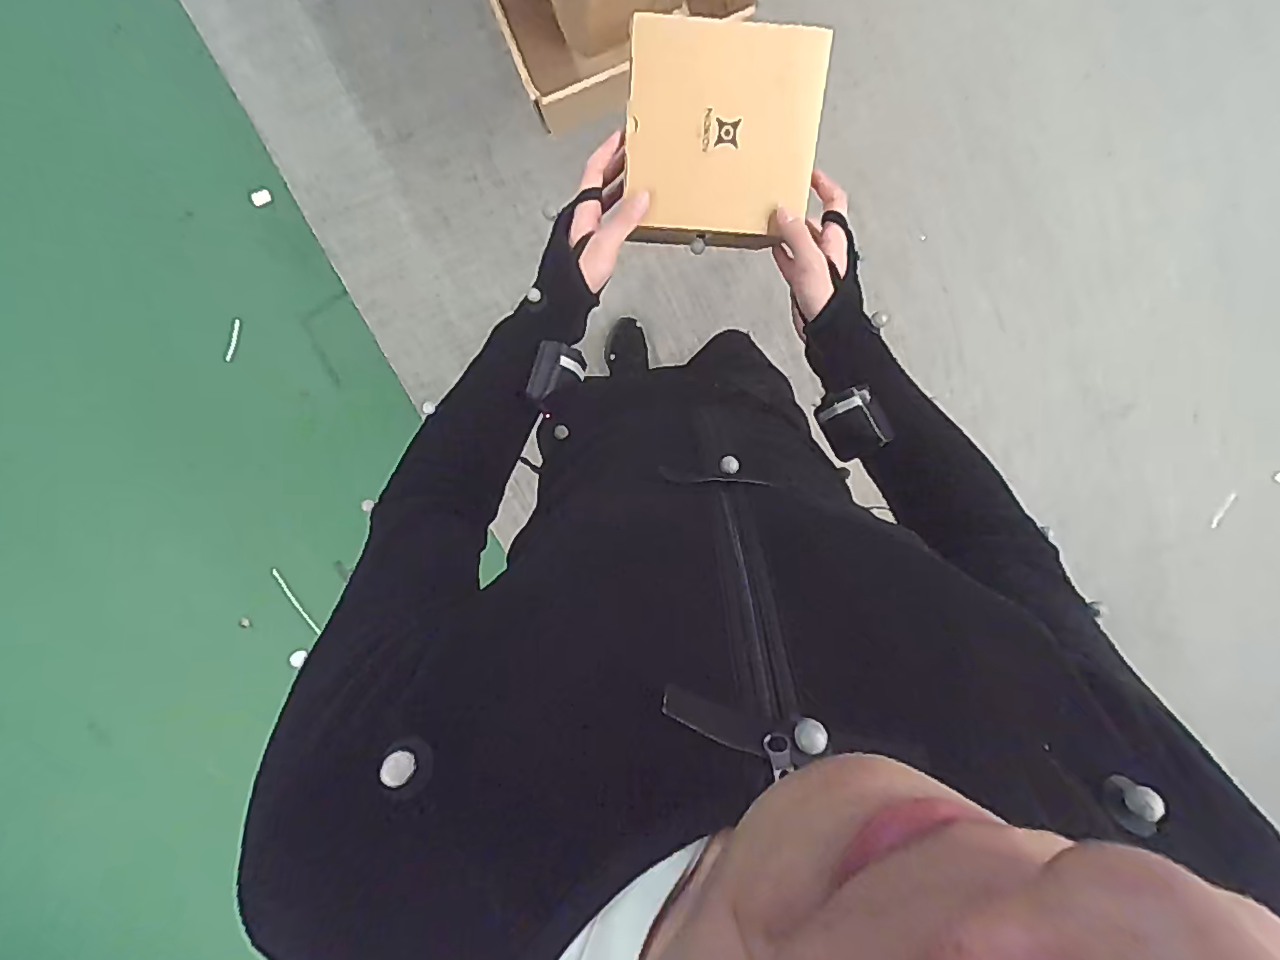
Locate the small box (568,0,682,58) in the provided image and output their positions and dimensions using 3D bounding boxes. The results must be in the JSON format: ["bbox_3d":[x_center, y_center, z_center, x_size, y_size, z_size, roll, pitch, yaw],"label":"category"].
[{"bbox_3d":[-0.032,-0.829,0.860,0.179,0.176,0.168,-23,106,2],"label":"small box"}]

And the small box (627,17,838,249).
[{"bbox_3d":[0.078,-0.338,0.563,0.179,0.176,0.168,3,109,-2],"label":"small box"}]
